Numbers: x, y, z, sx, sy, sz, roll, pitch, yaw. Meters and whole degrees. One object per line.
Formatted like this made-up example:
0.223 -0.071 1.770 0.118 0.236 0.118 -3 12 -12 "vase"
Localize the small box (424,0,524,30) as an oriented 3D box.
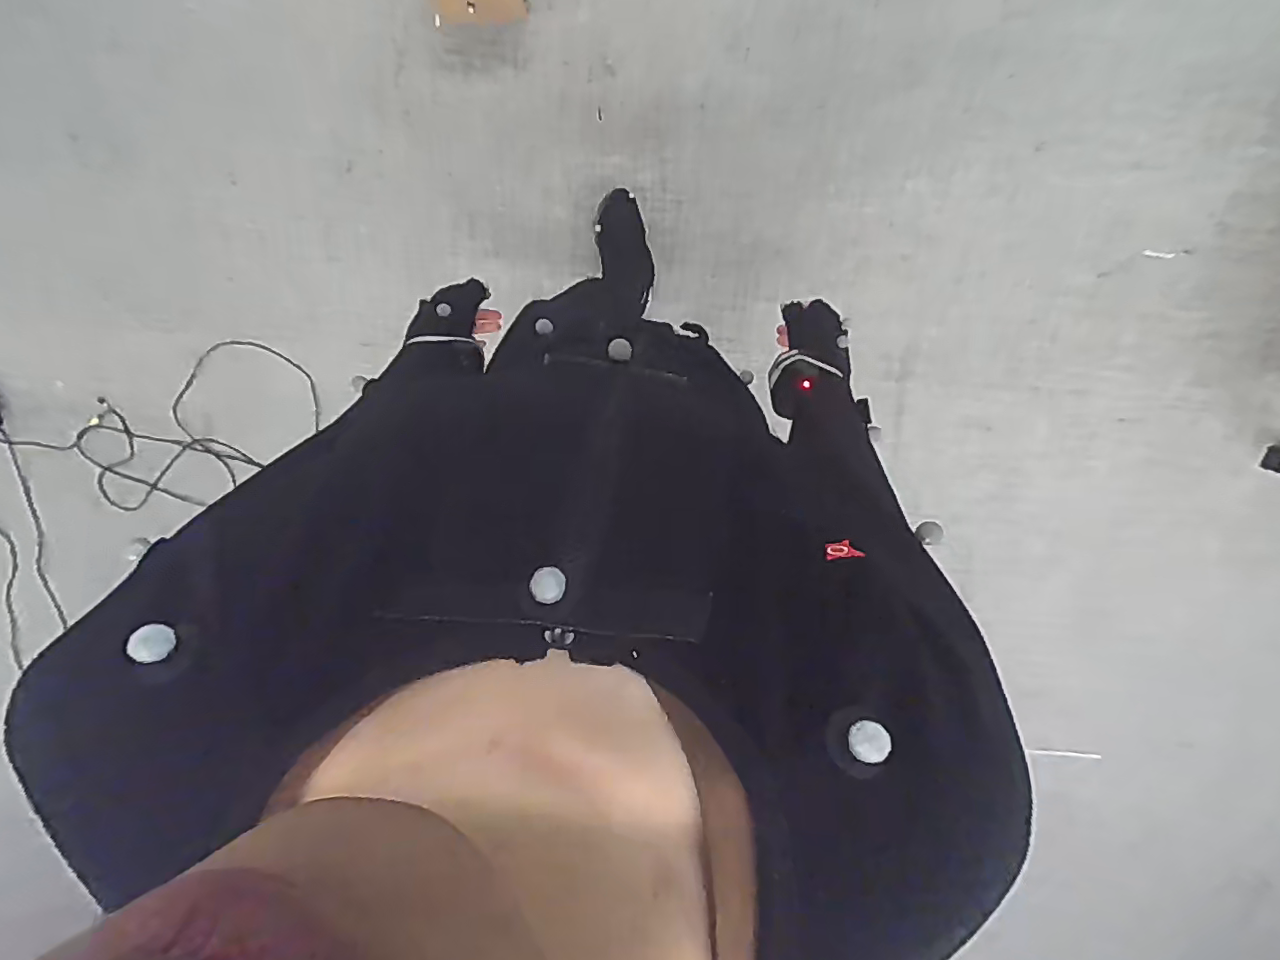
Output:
-0.333 -1.019 1.055 0.179 0.176 0.168 -3 110 5 "small box"
